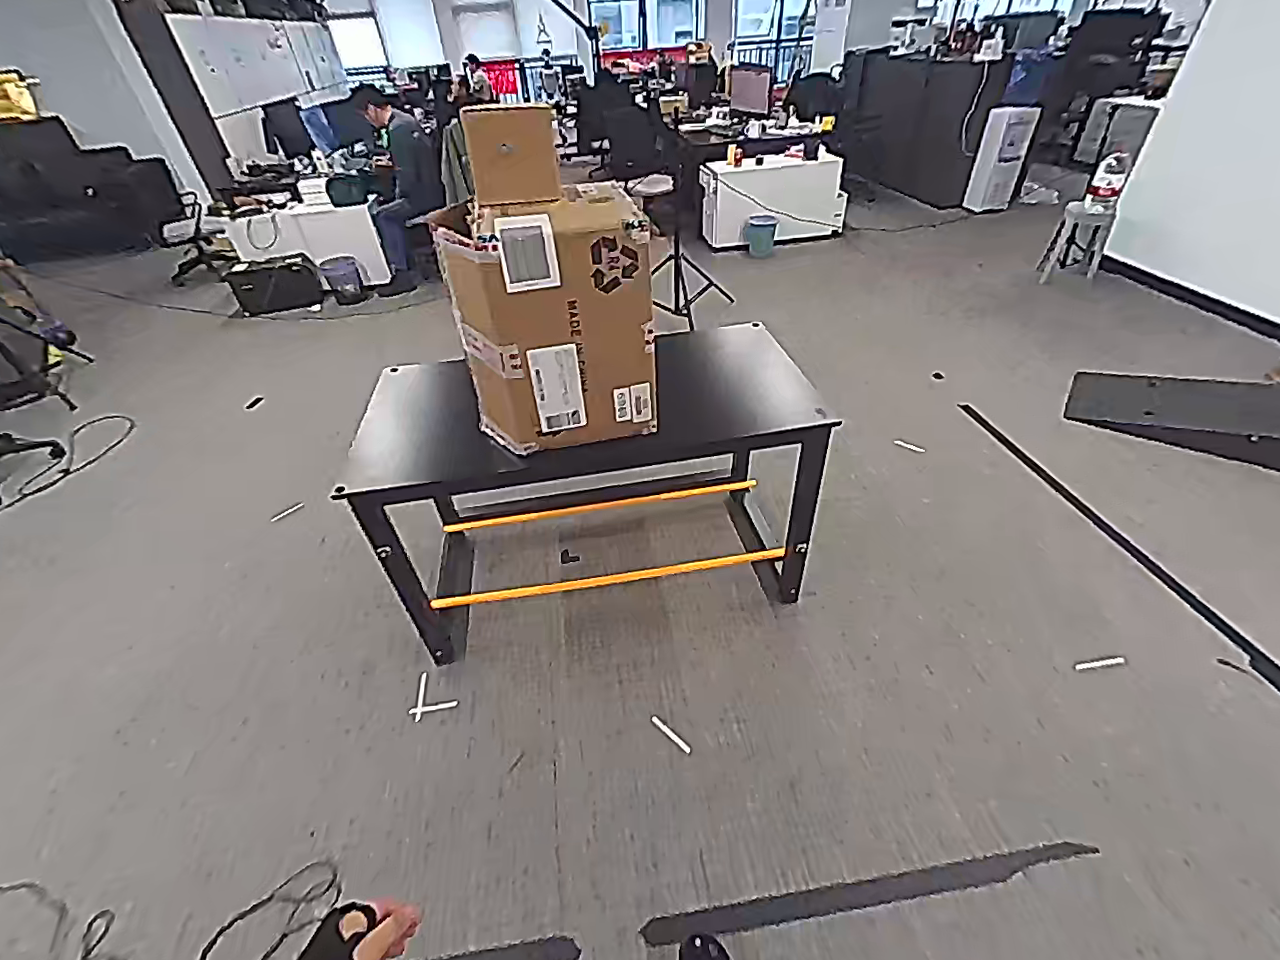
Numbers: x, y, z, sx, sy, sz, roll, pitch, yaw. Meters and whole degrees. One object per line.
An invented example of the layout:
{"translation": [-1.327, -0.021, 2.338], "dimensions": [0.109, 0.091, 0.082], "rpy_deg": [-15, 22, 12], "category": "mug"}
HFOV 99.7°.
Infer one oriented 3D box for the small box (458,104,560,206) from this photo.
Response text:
{"translation": [-0.276, -0.691, 1.151], "dimensions": [0.179, 0.176, 0.168], "rpy_deg": [-10, 38, -9], "category": "small box"}
